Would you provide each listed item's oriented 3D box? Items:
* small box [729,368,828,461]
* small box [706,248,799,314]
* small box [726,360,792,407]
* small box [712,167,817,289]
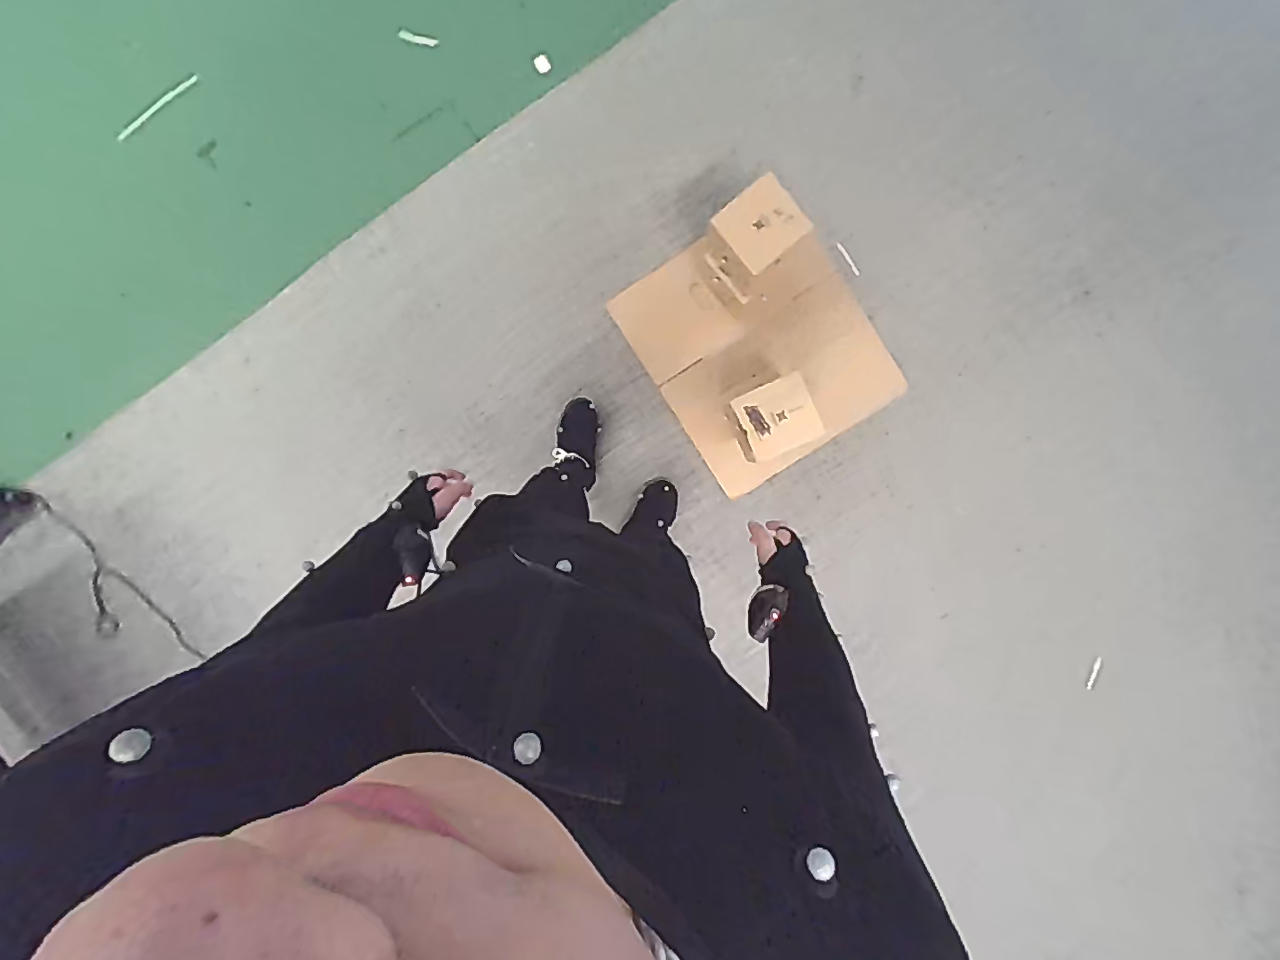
[{"bbox_3d":[0.327,-0.154,1.323,0.179,0.176,0.168,-24,93,3],"label":"small box"},{"bbox_3d":[0.294,-0.578,1.459,0.179,0.176,0.168,-39,92,5],"label":"small box"},{"bbox_3d":[0.345,-0.205,1.483,0.179,0.176,0.168,-27,92,5],"label":"small box"},{"bbox_3d":[0.287,-0.589,1.292,0.179,0.176,0.168,-38,93,5],"label":"small box"}]
